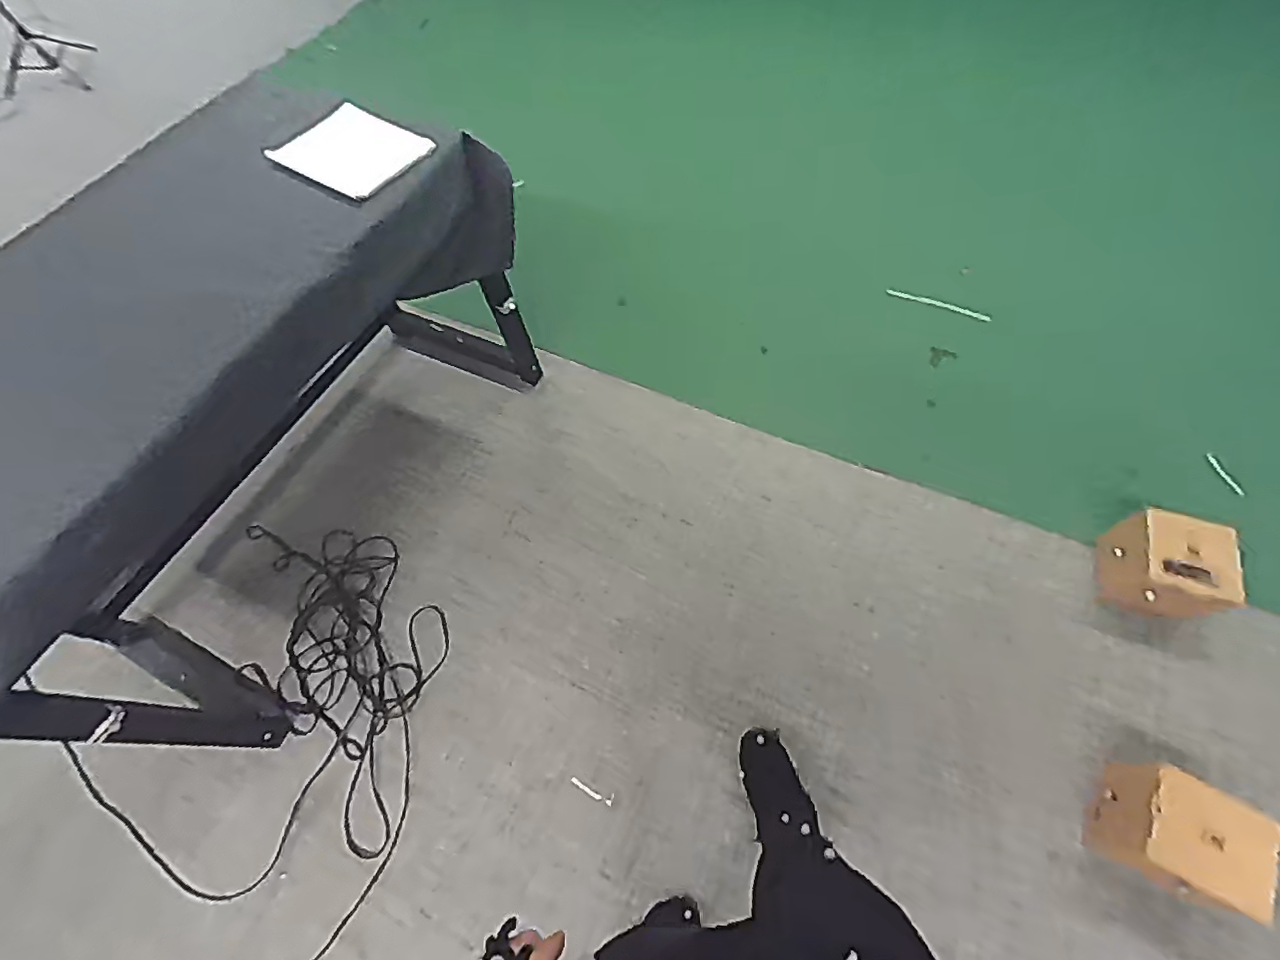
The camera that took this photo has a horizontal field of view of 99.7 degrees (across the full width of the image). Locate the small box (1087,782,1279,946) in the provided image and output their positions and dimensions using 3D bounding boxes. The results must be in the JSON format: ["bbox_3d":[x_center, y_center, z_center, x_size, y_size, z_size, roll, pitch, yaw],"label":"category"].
[{"bbox_3d":[0.958,0.664,0.962,0.179,0.176,0.168,26,66,19],"label":"small box"}]
